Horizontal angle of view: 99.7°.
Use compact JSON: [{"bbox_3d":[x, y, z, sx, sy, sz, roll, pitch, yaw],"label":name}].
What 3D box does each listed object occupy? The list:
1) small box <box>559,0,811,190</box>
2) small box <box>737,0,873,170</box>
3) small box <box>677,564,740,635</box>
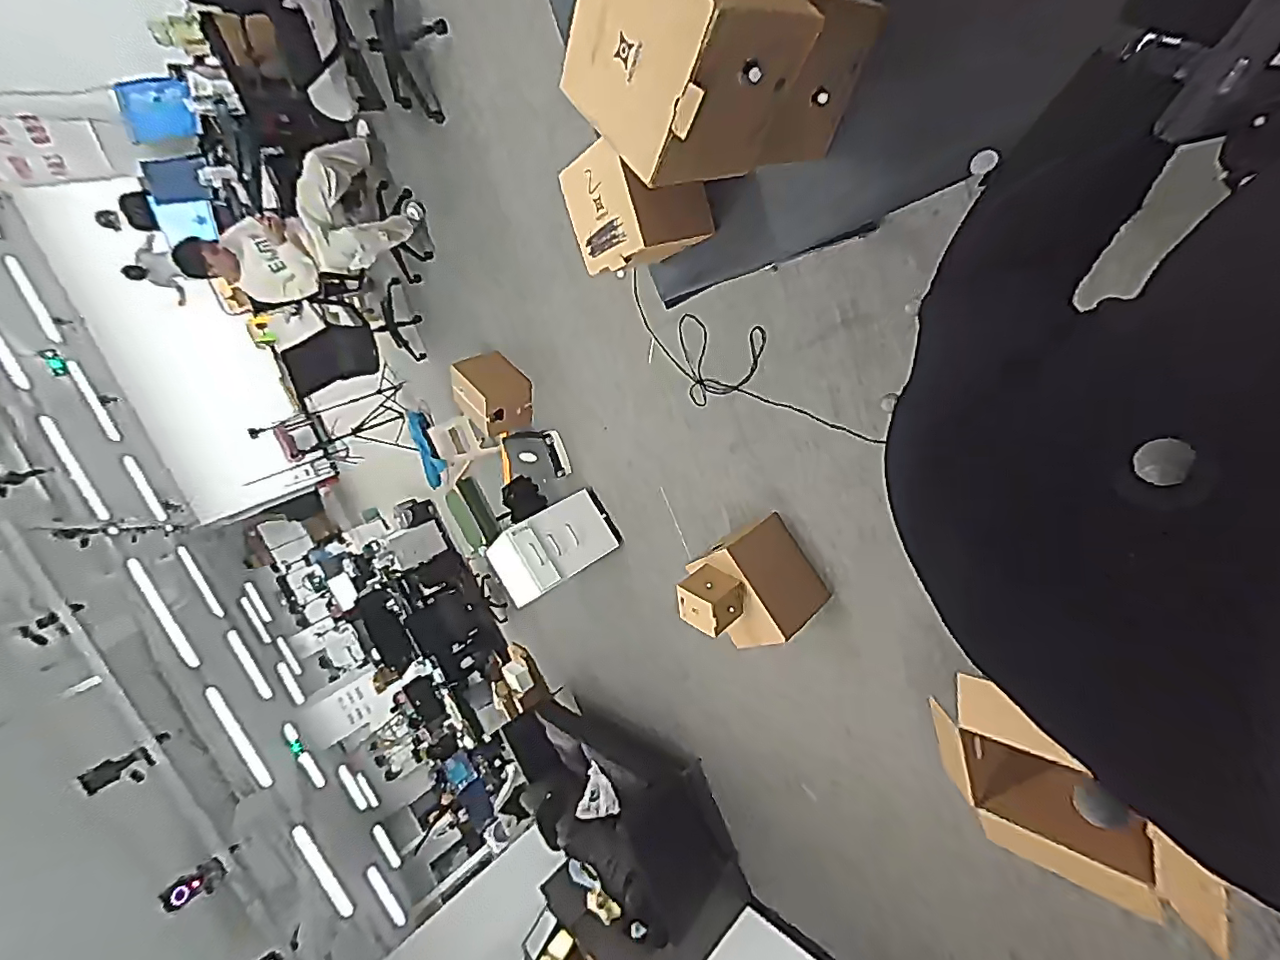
[{"bbox_3d":[0.044,-0.447,0.577,0.179,0.176,0.168,53,145,14],"label":"small box"},{"bbox_3d":[0.151,-0.519,0.677,0.179,0.176,0.168,45,143,23],"label":"small box"},{"bbox_3d":[0.265,0.443,2.038,0.179,0.176,0.168,21,130,42],"label":"small box"}]
